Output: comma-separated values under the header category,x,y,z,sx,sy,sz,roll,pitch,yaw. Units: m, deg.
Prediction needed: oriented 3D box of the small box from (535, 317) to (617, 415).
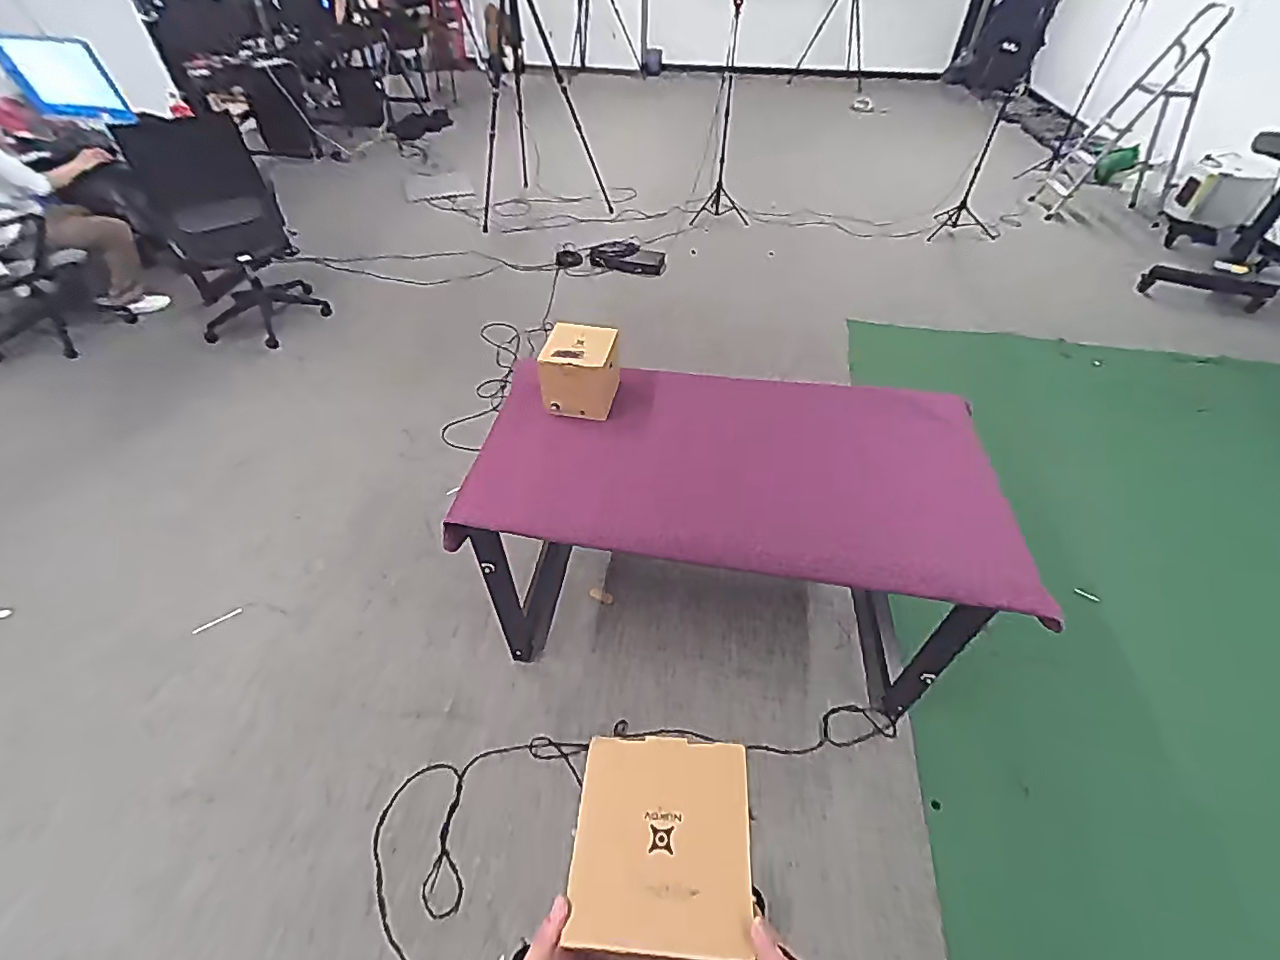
category,x,y,z,sx,sy,sz,roll,pitch,yaw
small box,-0.153,-0.288,1.377,0.168,0.176,0.179,9,48,6

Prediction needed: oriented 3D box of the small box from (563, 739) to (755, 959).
category,x,y,z,sx,sy,sz,roll,pitch,yaw
small box,0.028,0.397,0.565,0.168,0.176,0.179,0,45,7
